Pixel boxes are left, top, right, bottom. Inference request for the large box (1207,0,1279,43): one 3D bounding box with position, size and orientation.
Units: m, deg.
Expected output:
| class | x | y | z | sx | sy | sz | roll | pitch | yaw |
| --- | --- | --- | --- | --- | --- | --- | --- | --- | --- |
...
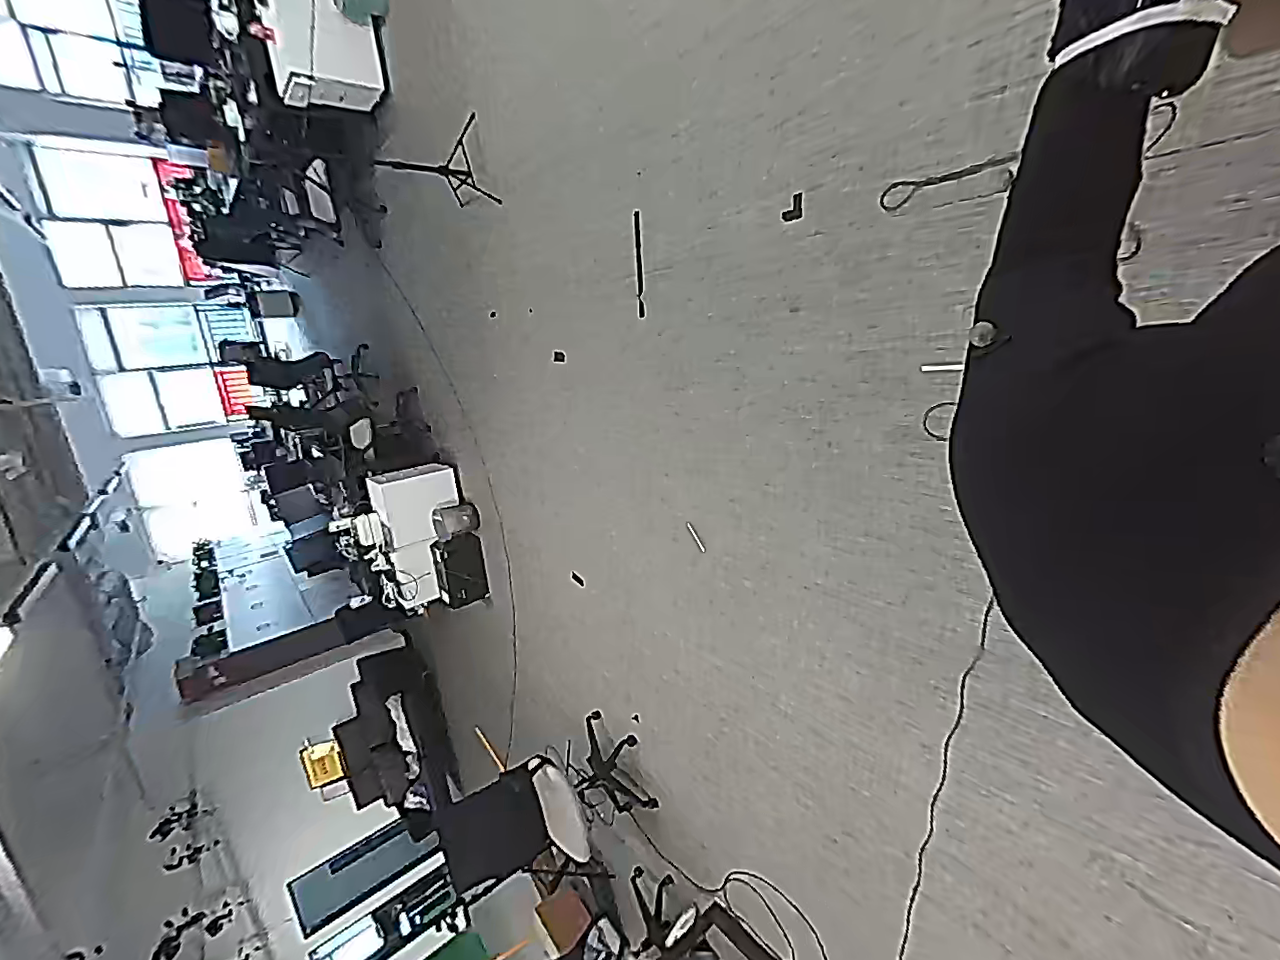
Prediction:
| class | x | y | z | sx | sy | sz | roll | pitch | yaw |
| --- | --- | --- | --- | --- | --- | --- | --- | --- | --- |
| large box | 0.575 | -0.493 | 0.251 | 0.408 | 0.320 | 0.320 | 13 | 120 | 48 |
